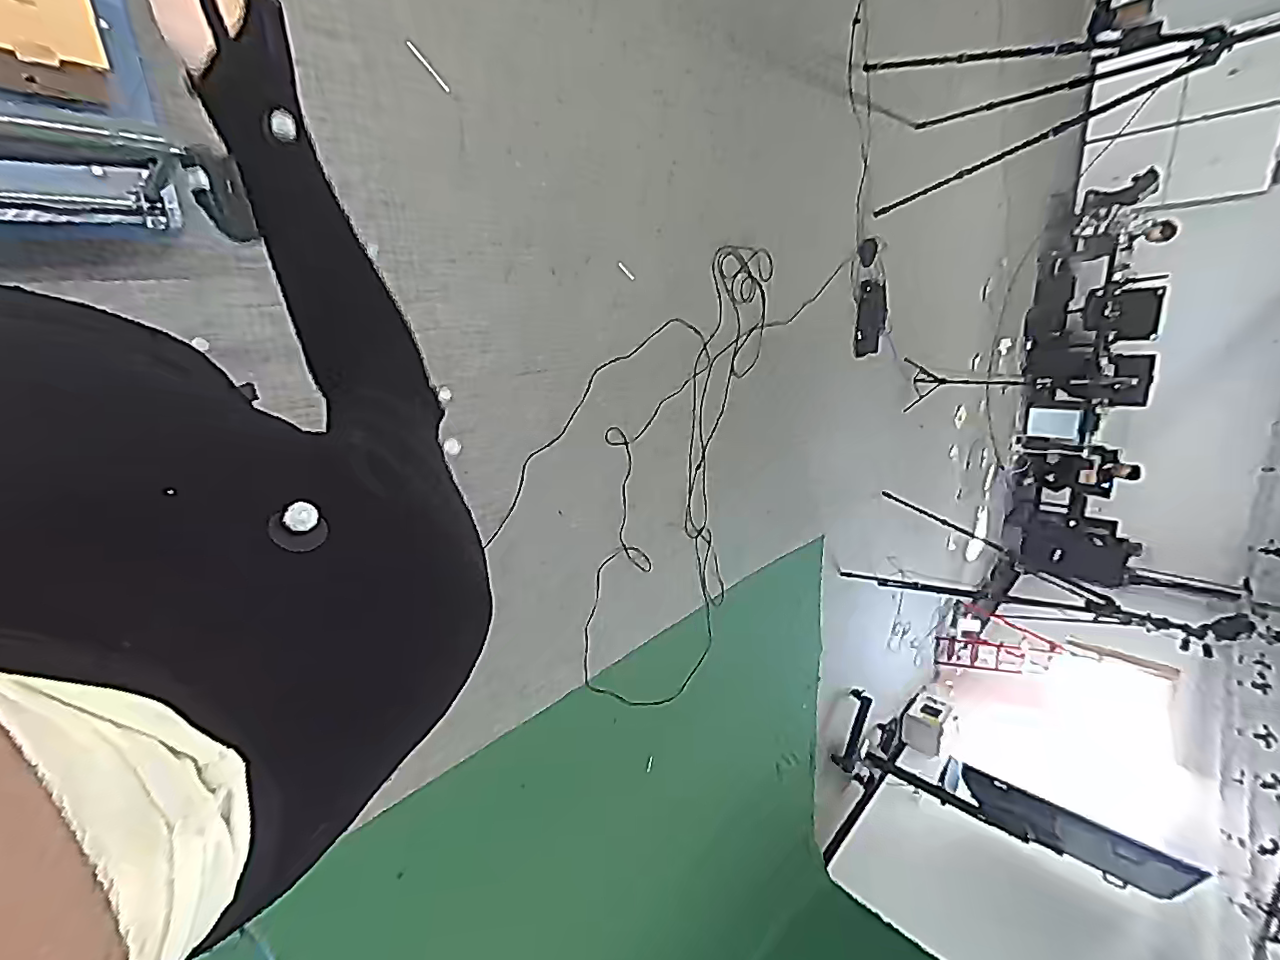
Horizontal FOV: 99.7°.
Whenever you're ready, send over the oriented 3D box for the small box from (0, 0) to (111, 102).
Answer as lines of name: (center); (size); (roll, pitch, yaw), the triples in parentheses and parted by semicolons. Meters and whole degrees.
small box: (-0.978, -0.738, 0.854); (0.168, 0.176, 0.179); (-19, 113, -41)
